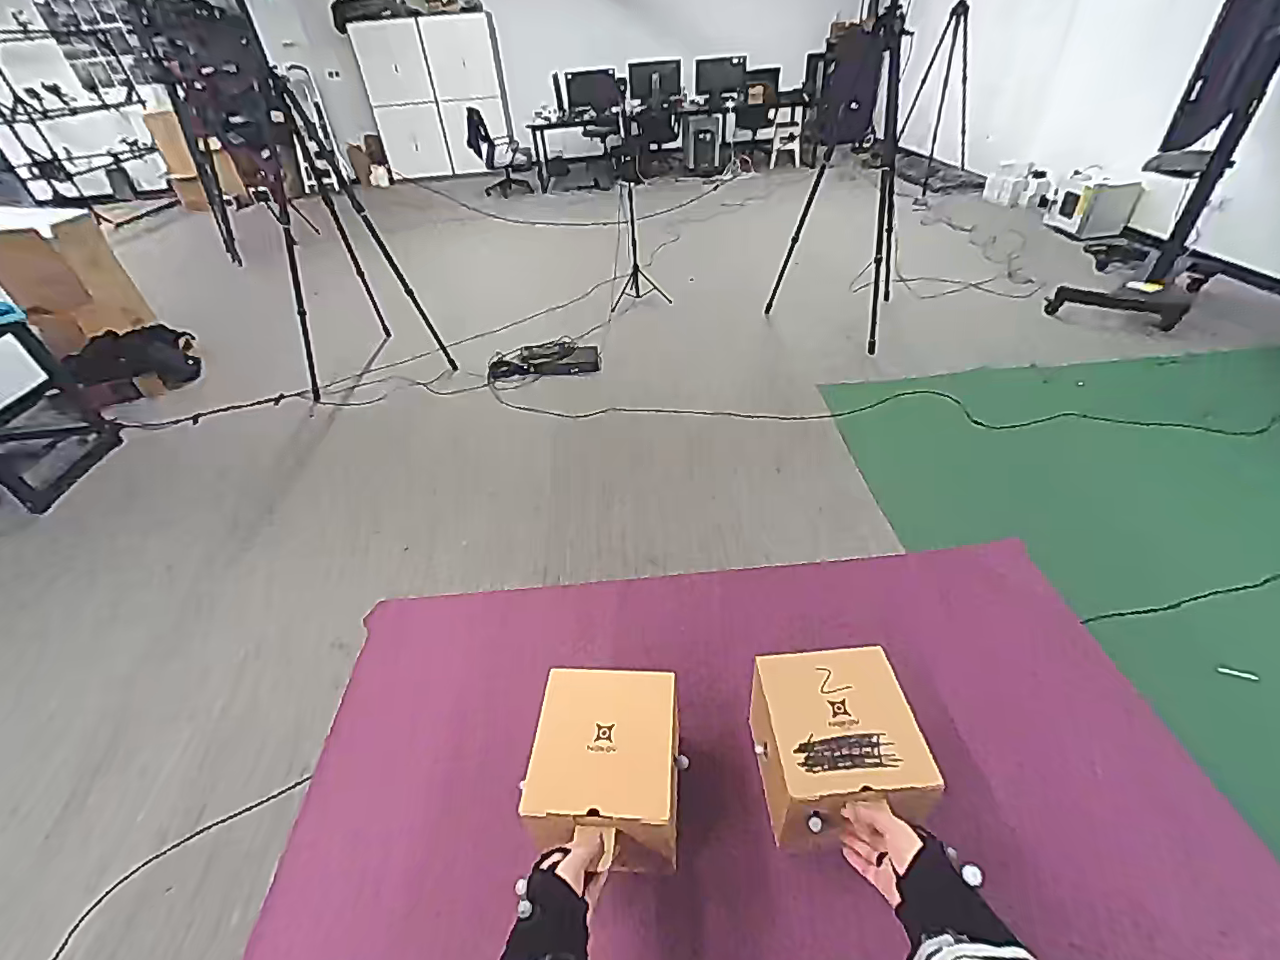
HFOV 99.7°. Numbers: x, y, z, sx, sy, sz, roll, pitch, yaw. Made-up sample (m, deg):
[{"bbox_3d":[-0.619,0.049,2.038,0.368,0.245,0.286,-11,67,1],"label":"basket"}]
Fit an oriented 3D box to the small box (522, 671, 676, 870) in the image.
[{"bbox_3d":[-0.040,0.374,0.704,0.168,0.176,0.179,0,41,6],"label":"small box"}]
